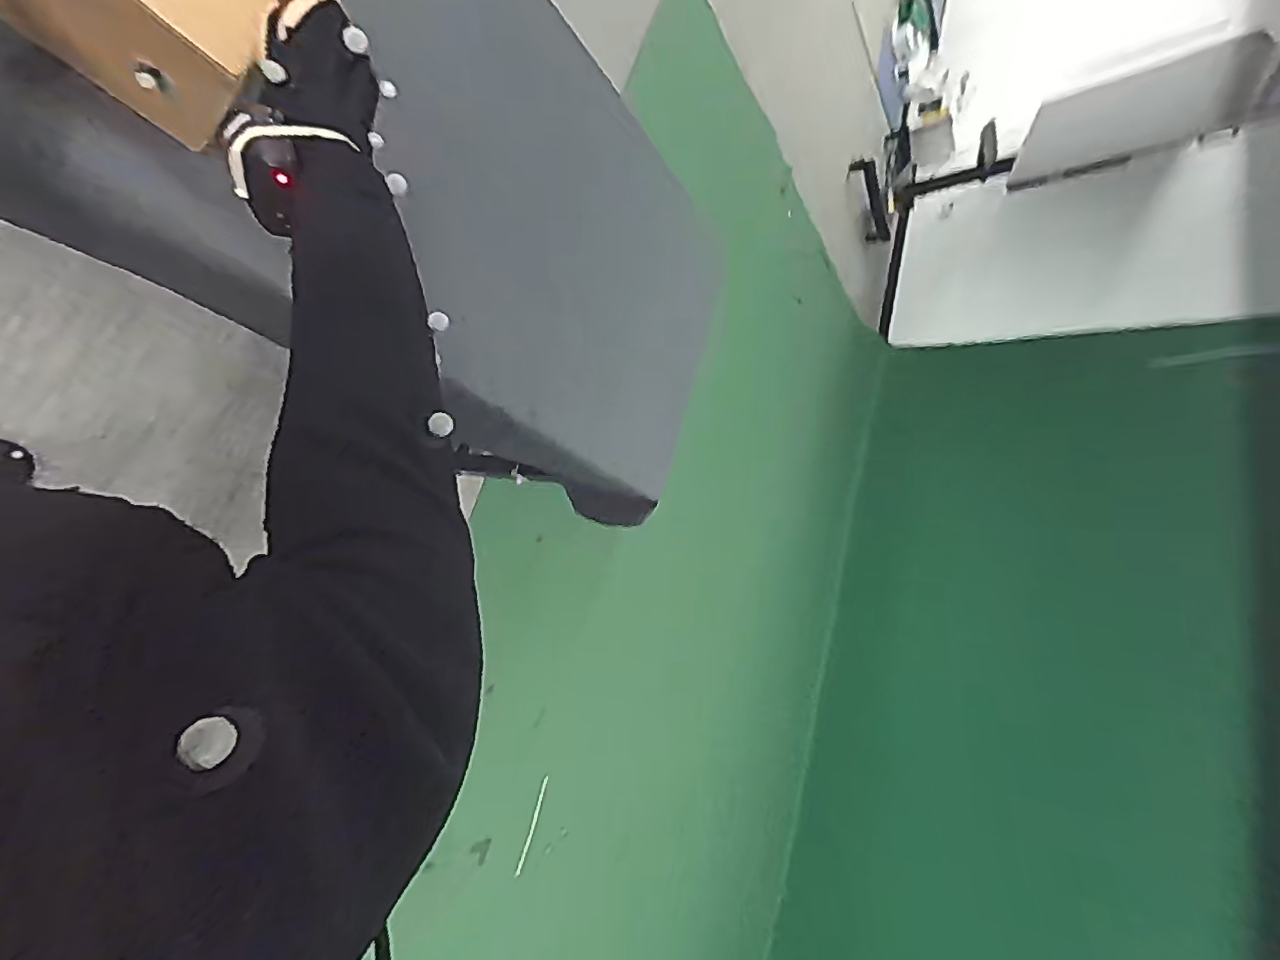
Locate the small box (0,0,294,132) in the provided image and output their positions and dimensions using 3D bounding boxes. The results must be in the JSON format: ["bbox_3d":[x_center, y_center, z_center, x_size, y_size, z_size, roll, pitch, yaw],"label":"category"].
[{"bbox_3d":[-0.388,-0.410,0.416,0.179,0.176,0.168,31,70,-44],"label":"small box"}]
